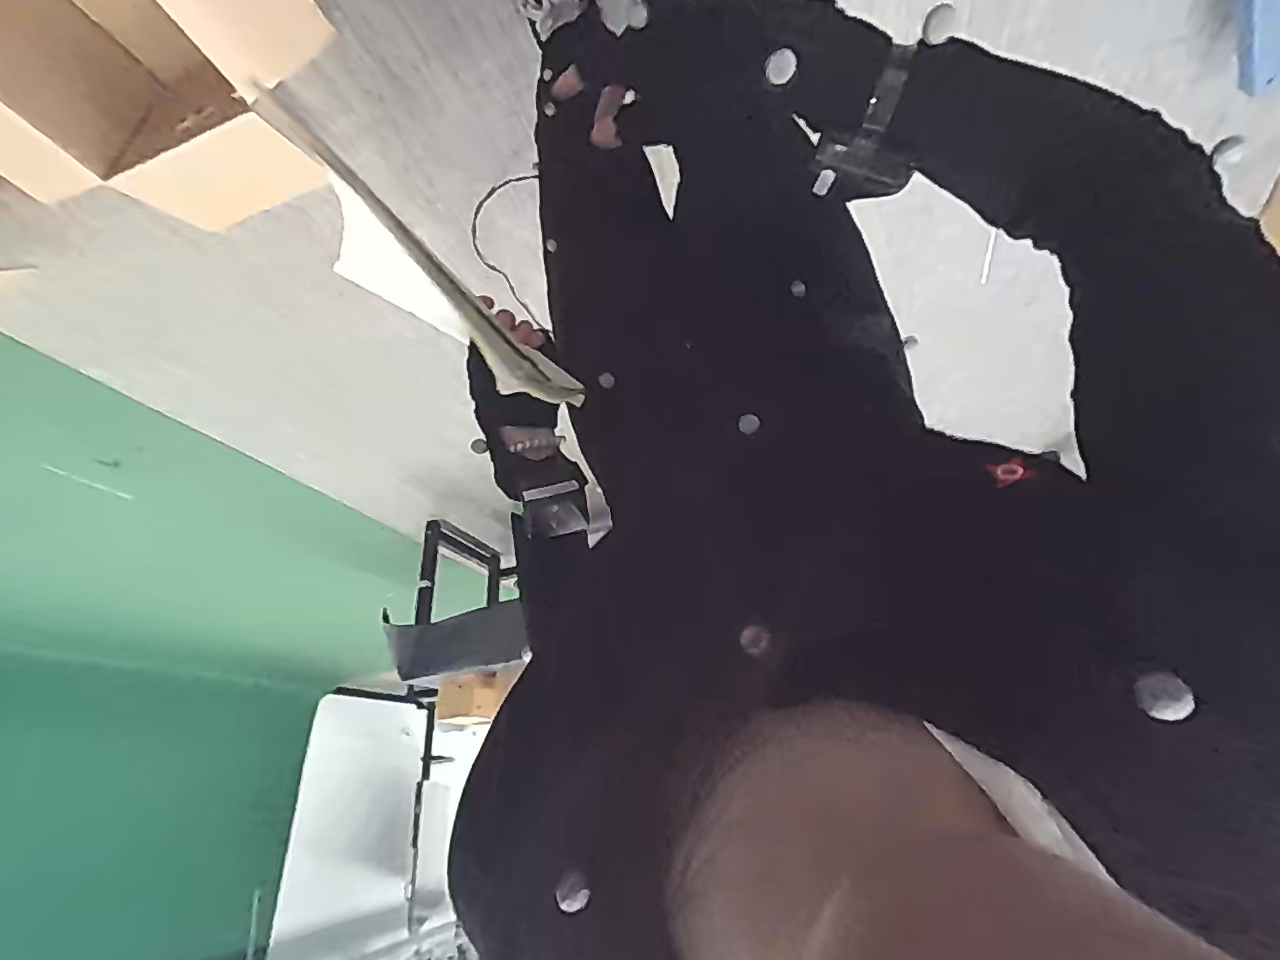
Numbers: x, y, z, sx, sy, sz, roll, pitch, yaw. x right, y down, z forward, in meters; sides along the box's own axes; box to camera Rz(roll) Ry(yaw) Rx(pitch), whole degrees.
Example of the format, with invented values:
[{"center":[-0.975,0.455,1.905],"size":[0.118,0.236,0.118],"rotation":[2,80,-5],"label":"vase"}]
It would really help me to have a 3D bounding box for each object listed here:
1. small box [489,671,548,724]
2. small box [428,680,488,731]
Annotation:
[{"center":[-0.484,0.868,2.157],"size":[0.179,0.176,0.168],"rotation":[-16,149,17],"label":"small box"},{"center":[-0.736,0.922,2.206],"size":[0.168,0.176,0.179],"rotation":[-13,149,12],"label":"small box"}]
